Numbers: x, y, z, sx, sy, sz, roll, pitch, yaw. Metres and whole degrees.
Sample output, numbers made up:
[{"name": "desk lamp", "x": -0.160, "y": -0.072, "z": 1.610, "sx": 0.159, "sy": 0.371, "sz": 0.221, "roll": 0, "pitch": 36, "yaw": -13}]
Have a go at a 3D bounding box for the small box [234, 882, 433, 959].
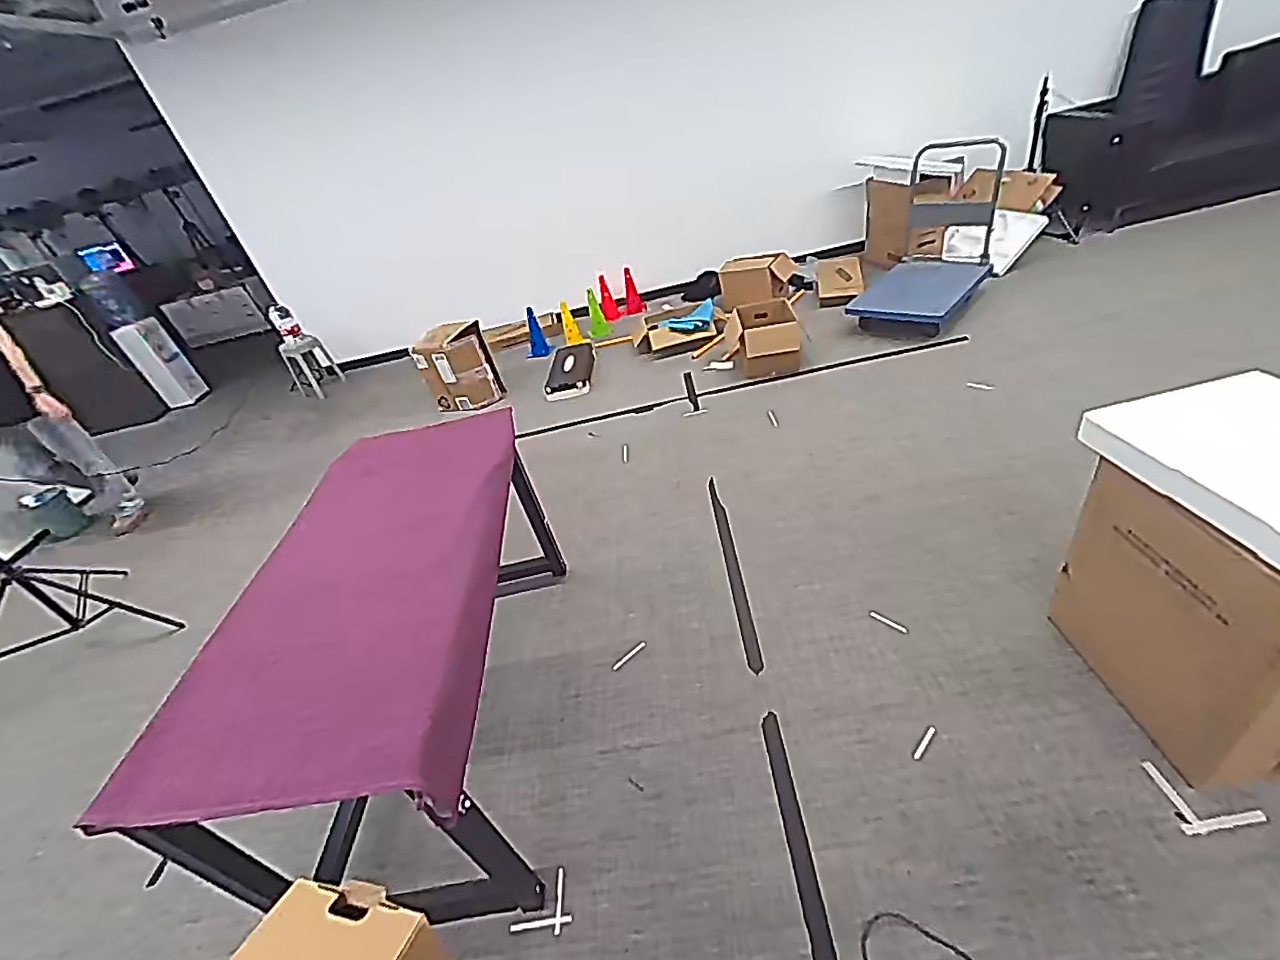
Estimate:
[{"name": "small box", "x": -0.285, "y": 0.516, "z": 0.480, "sx": 0.168, "sy": 0.176, "sz": 0.179, "roll": -2, "pitch": 21, "yaw": 20}]
